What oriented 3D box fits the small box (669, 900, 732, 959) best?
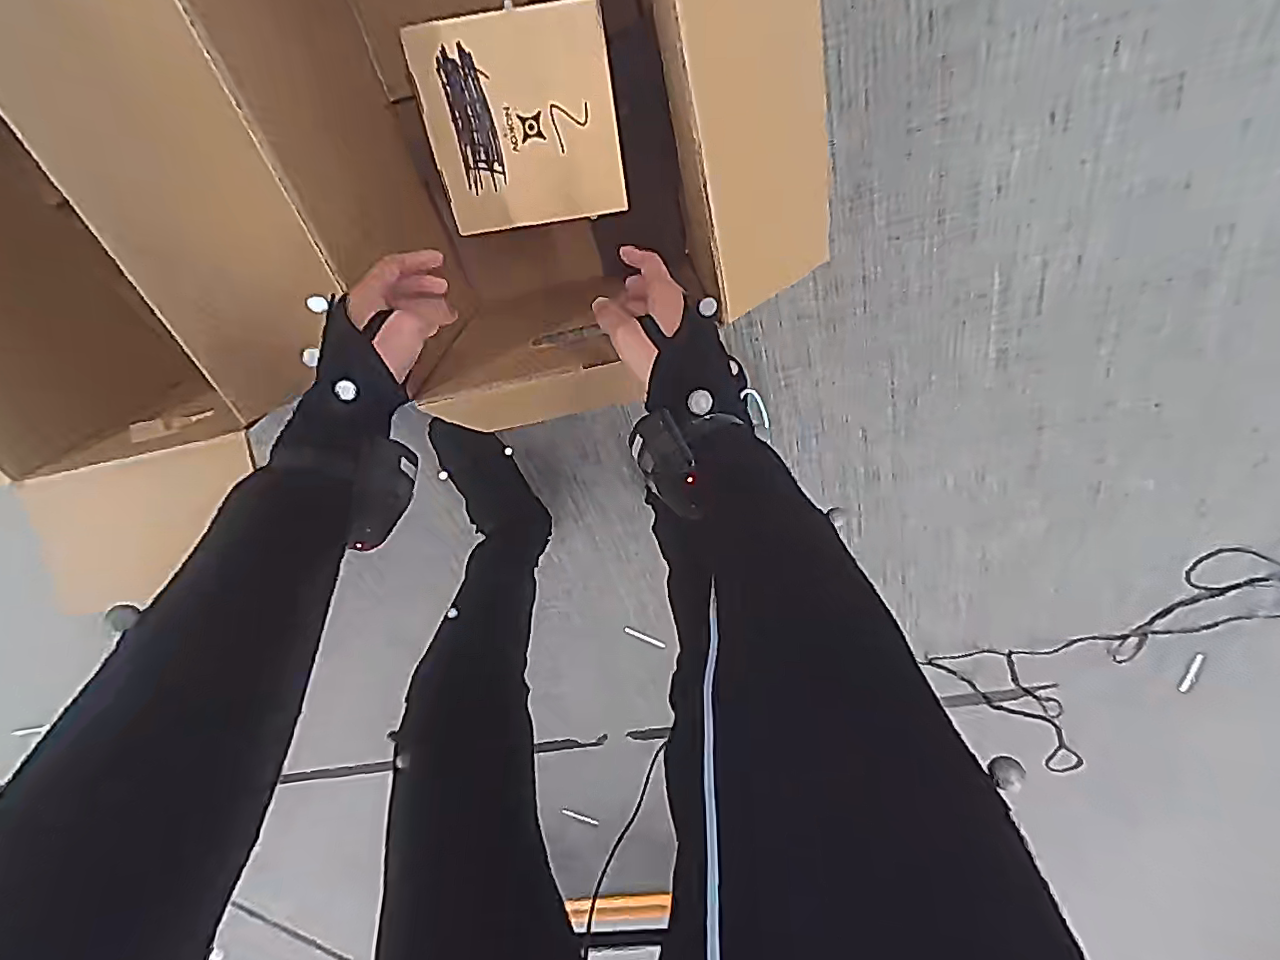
[{"bbox_3d":[0.193,1.481,1.745,0.179,0.176,0.168,-13,124,13],"label":"small box"}]
